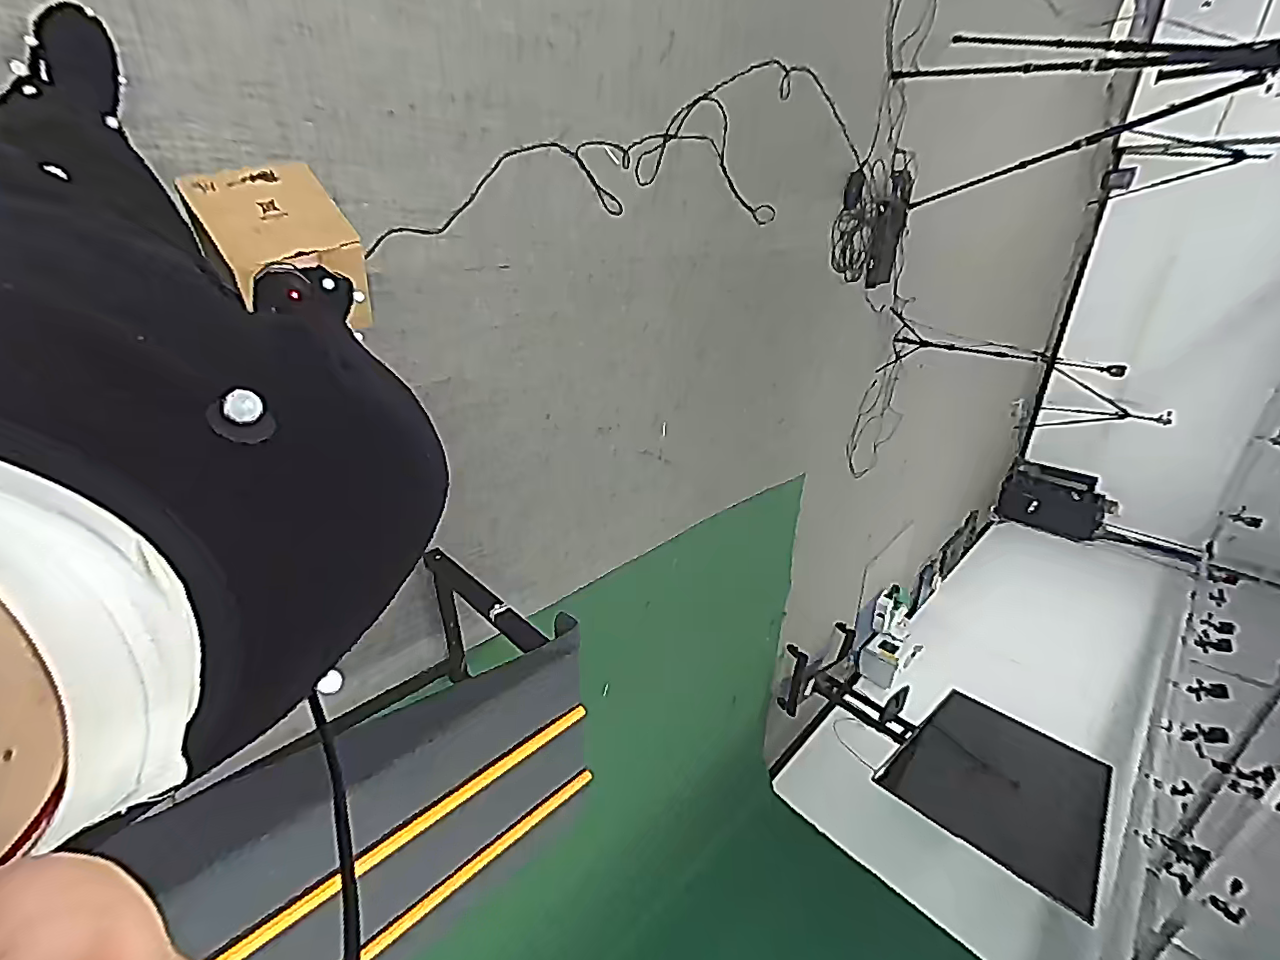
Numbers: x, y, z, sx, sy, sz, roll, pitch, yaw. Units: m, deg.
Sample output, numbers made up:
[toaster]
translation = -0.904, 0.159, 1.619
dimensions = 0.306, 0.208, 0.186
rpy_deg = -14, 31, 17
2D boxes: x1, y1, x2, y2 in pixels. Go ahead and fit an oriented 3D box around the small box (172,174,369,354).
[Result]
[small box]
translation = -0.531, -0.312, 0.806
dimensions = 0.168, 0.179, 0.176
rpy_deg = -34, 164, -32
